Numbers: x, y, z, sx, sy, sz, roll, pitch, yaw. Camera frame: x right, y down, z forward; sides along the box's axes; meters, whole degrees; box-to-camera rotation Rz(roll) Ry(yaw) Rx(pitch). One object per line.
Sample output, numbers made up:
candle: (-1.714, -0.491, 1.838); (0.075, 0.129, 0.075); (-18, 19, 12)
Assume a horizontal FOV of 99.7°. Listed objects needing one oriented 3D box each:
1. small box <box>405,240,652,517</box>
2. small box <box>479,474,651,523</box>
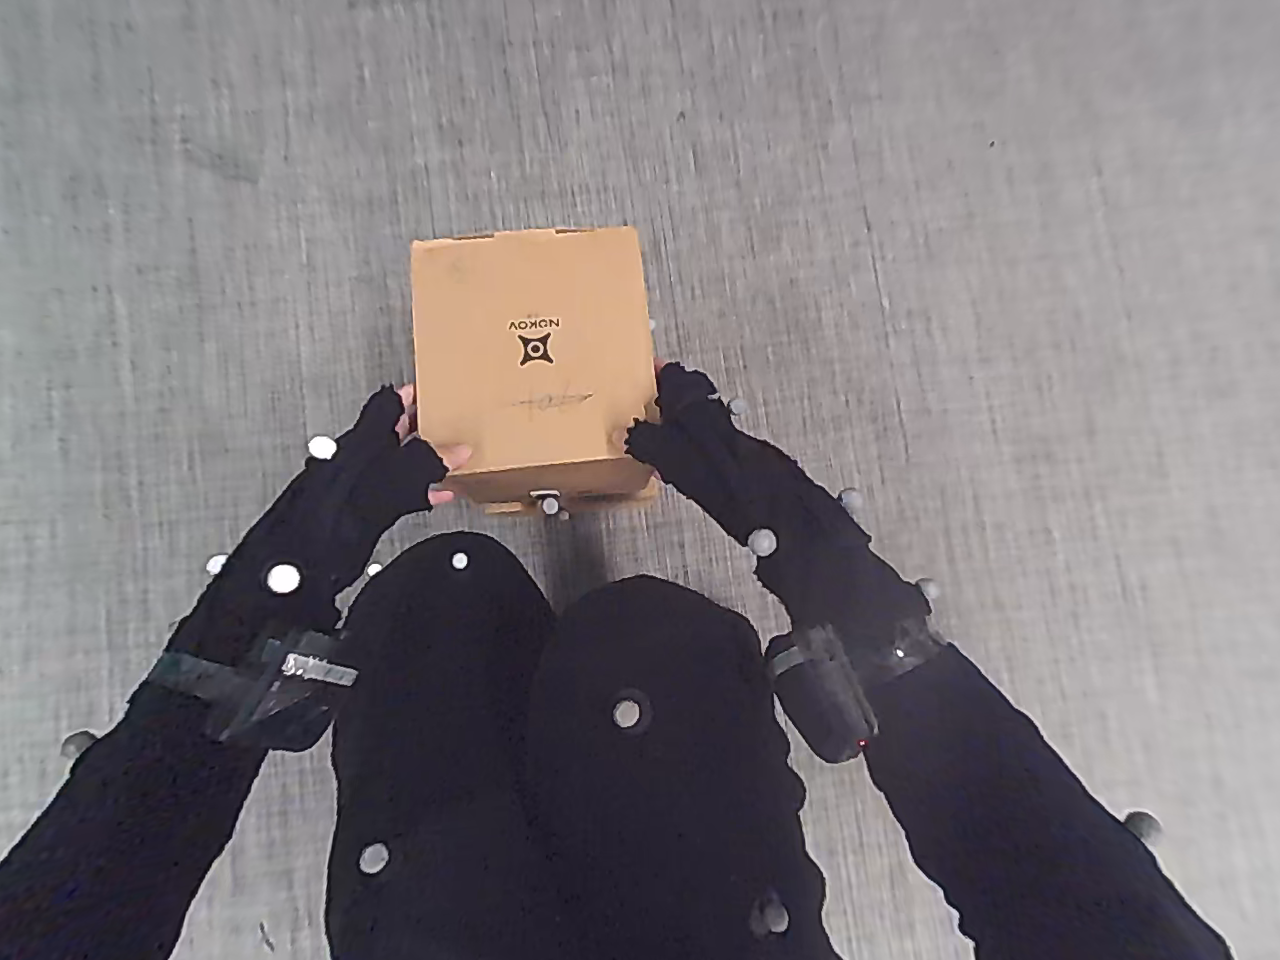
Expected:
small box: (-0.084, -0.072, 0.456); (0.168, 0.176, 0.179); (-5, 79, -4)
small box: (-0.081, -0.040, 0.627); (0.179, 0.176, 0.168); (-6, 85, -1)
